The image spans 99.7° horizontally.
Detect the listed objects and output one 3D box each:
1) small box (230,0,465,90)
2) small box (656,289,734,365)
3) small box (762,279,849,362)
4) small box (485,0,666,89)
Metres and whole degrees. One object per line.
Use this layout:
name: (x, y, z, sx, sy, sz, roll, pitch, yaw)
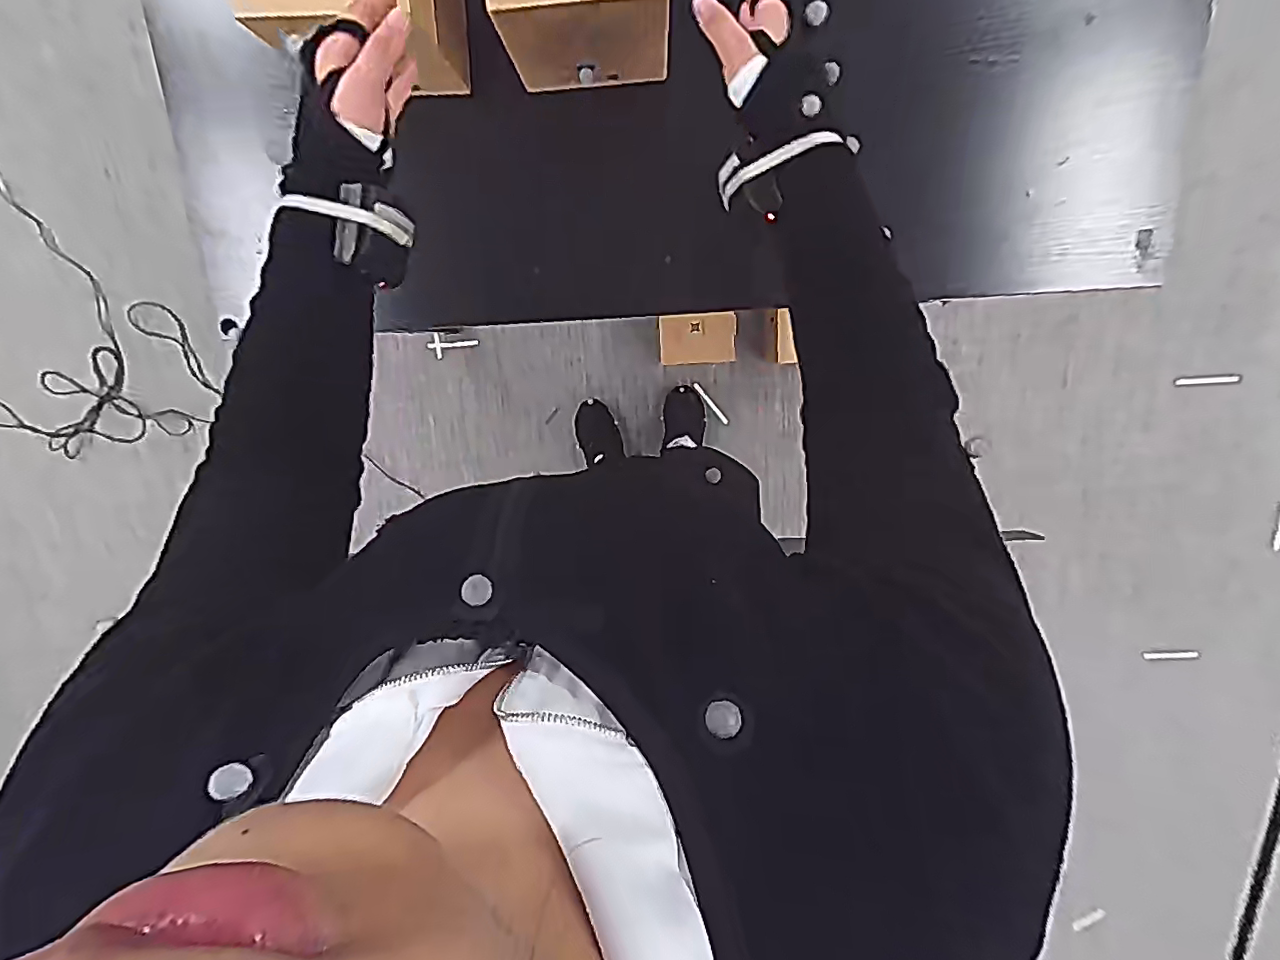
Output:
small box: (-0.285, -0.521, 0.542, 0.168, 0.176, 0.179, 0, 104, 1)
small box: (0.131, -0.372, 1.321, 0.179, 0.176, 0.168, -3, 103, 4)
small box: (0.393, -0.379, 1.307, 0.168, 0.176, 0.179, -4, 103, 3)
small box: (-0.061, -0.527, 0.534, 0.168, 0.176, 0.179, -3, 105, 3)
